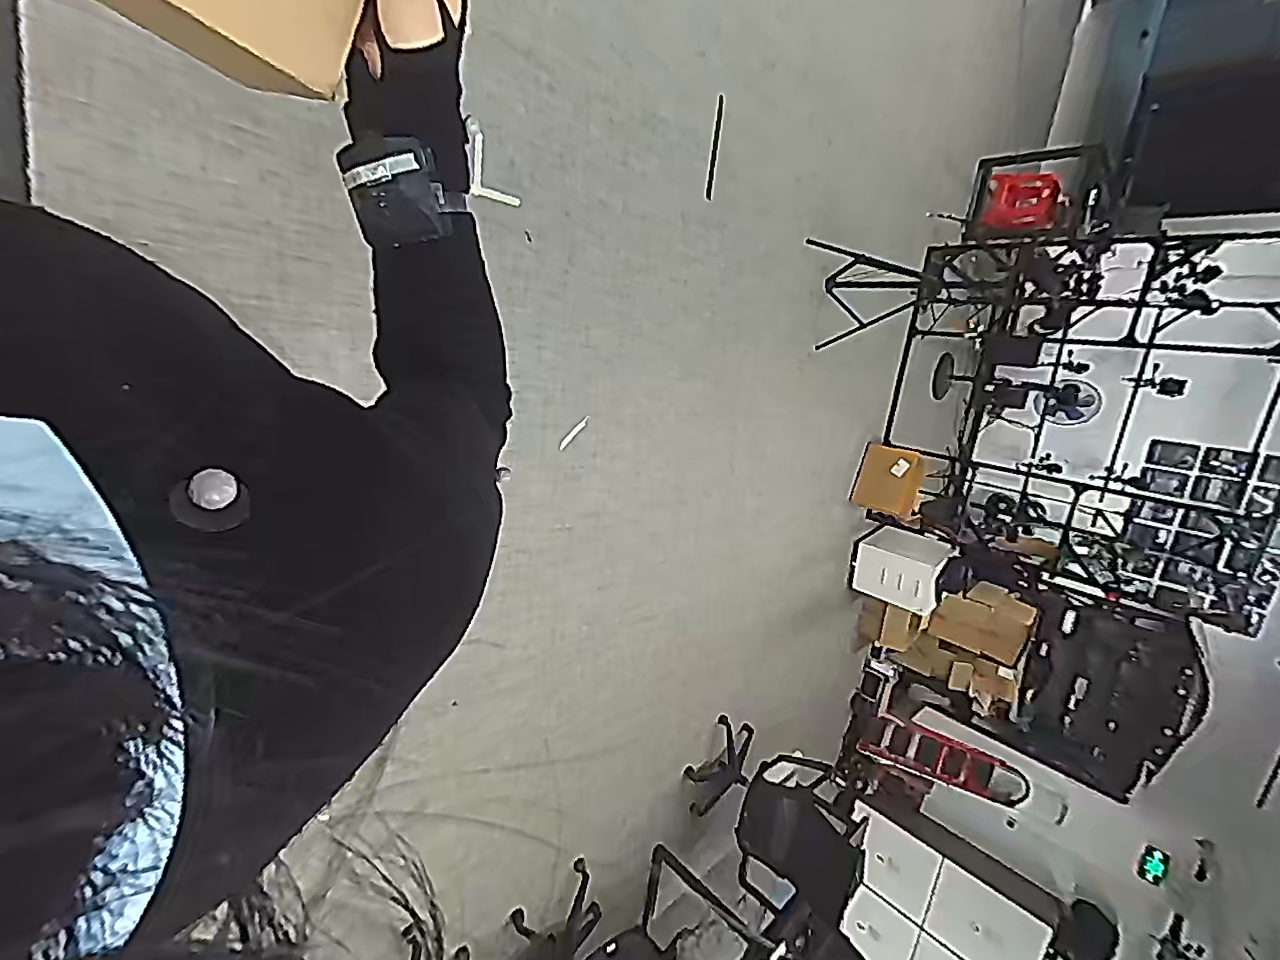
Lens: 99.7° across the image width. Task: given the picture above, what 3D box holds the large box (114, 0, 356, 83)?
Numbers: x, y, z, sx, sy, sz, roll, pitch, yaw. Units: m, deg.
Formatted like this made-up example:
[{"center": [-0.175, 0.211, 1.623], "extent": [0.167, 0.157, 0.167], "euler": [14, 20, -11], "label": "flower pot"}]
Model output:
[{"center": [-0.358, -0.483, 0.266], "extent": [0.408, 0.320, 0.320], "euler": [12, 109, -48], "label": "large box"}]
